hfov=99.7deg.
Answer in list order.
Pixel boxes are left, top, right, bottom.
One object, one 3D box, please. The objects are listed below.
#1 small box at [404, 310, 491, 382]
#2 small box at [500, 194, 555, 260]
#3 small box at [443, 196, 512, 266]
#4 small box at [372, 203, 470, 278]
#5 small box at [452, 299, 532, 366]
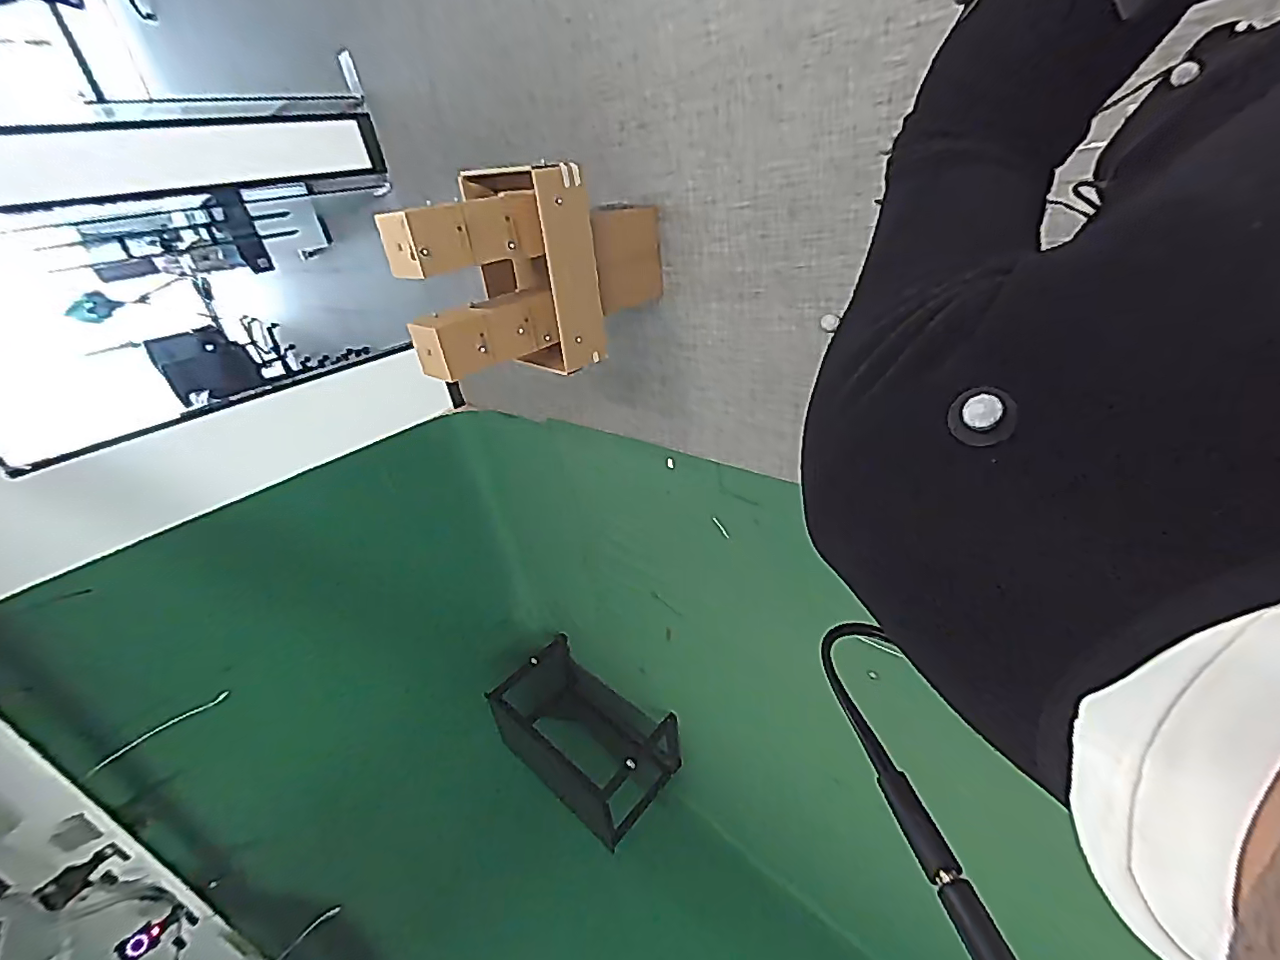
[{"bbox_3d":[-0.585,-0.415,1.655,0.179,0.176,0.168,20,130,38],"label":"small box"},{"bbox_3d":[-0.392,-0.803,1.710,0.179,0.176,0.168,23,131,35],"label":"small box"},{"bbox_3d":[-0.497,-0.737,1.602,0.179,0.176,0.168,19,128,39],"label":"small box"},{"bbox_3d":[-0.602,-0.665,1.499,0.179,0.176,0.168,19,129,38],"label":"small box"},{"bbox_3d":[-0.477,-0.485,1.755,0.179,0.176,0.168,20,130,38],"label":"small box"}]
